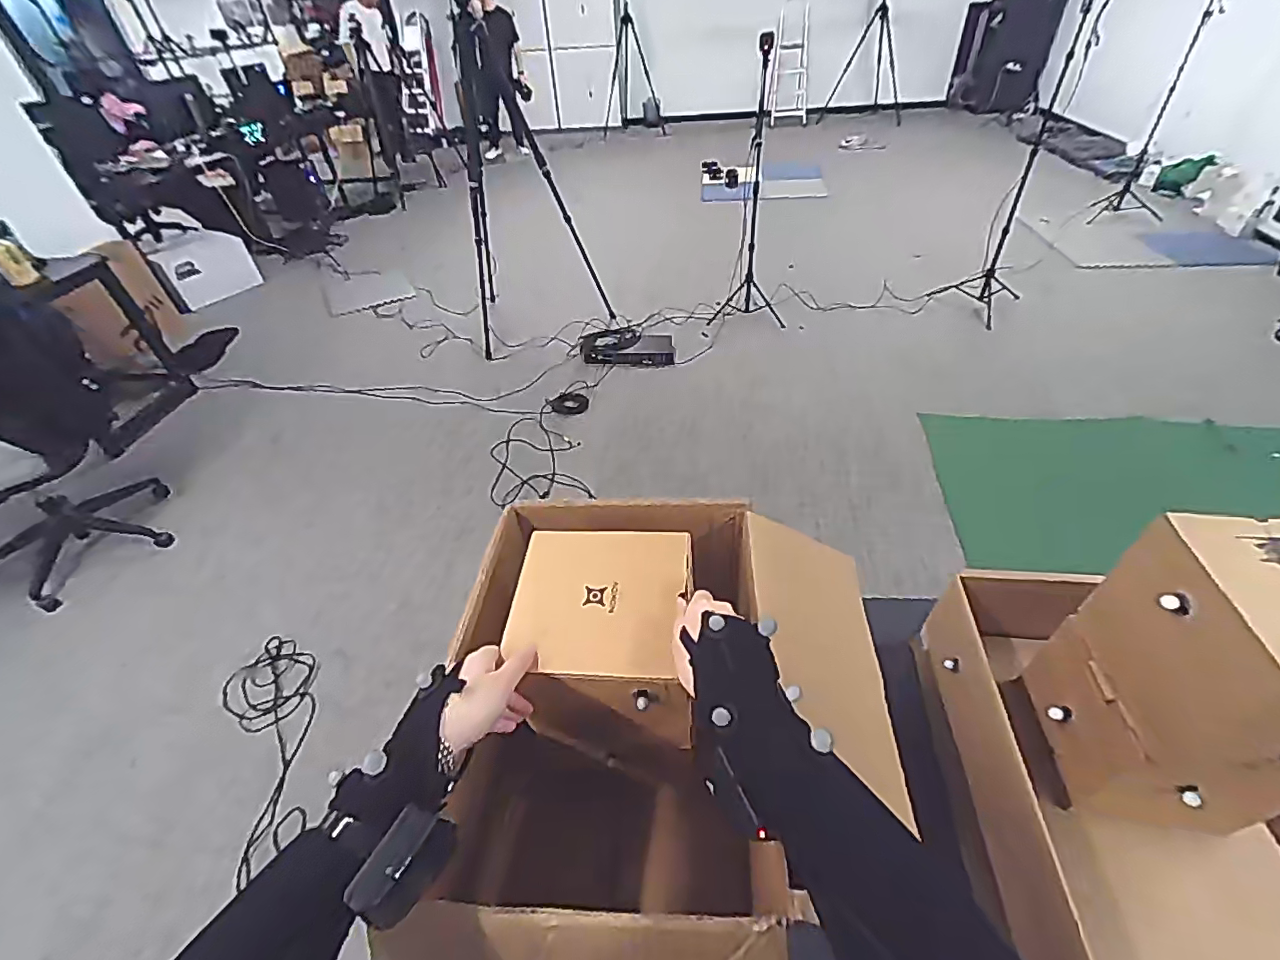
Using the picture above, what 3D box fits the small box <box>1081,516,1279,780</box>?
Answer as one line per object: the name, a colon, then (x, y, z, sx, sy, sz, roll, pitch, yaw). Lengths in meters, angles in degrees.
small box: (0.570, 0.156, 0.506, 0.168, 0.176, 0.179, 2, 45, 8)
